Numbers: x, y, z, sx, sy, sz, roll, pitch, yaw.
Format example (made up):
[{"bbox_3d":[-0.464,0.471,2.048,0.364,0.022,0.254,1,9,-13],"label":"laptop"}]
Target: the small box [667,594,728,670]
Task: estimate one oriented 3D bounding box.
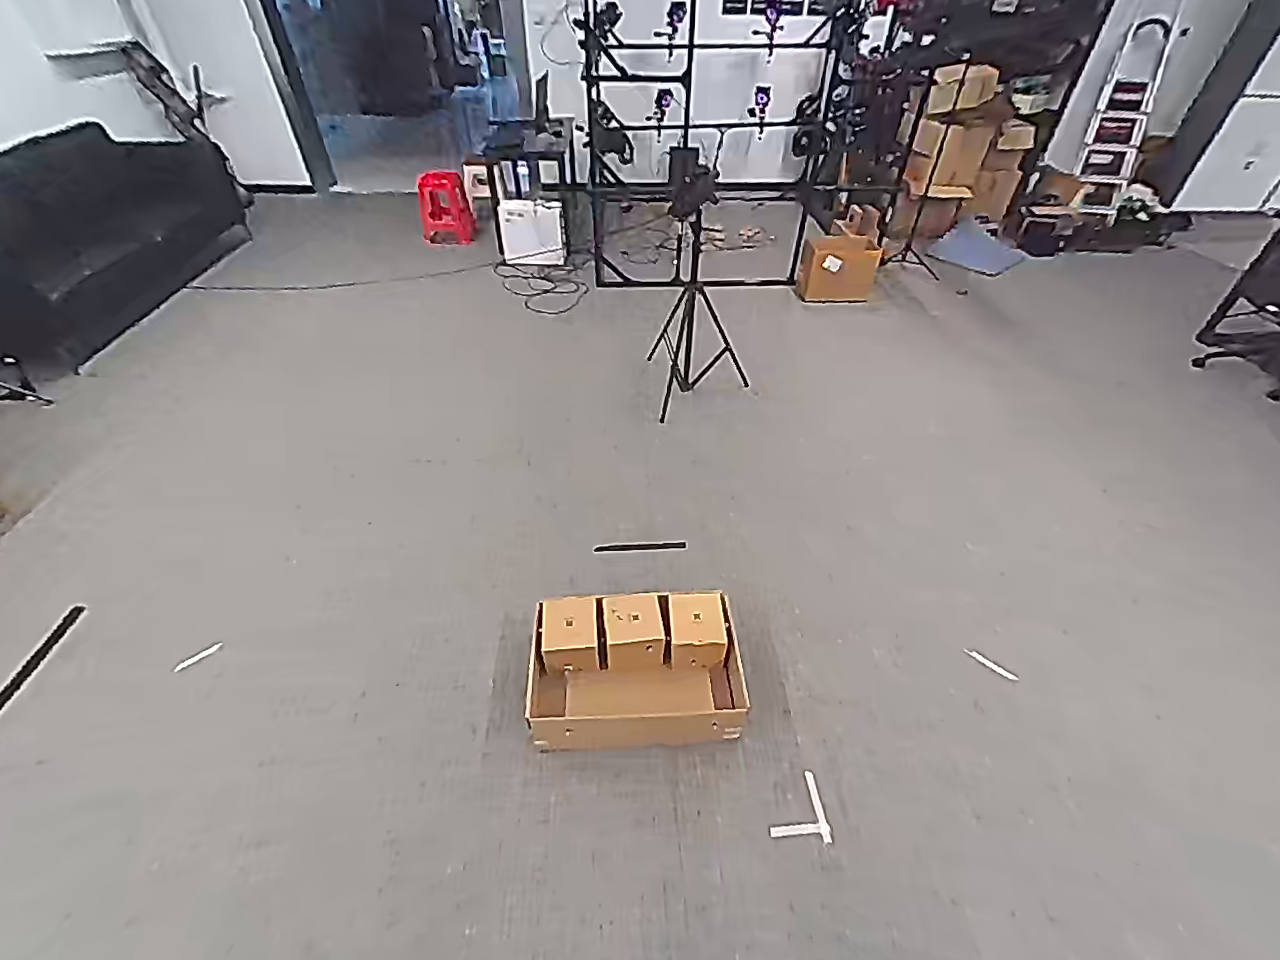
[{"bbox_3d":[0.175,0.481,1.710,0.168,0.176,0.179,-2,46,-1],"label":"small box"}]
